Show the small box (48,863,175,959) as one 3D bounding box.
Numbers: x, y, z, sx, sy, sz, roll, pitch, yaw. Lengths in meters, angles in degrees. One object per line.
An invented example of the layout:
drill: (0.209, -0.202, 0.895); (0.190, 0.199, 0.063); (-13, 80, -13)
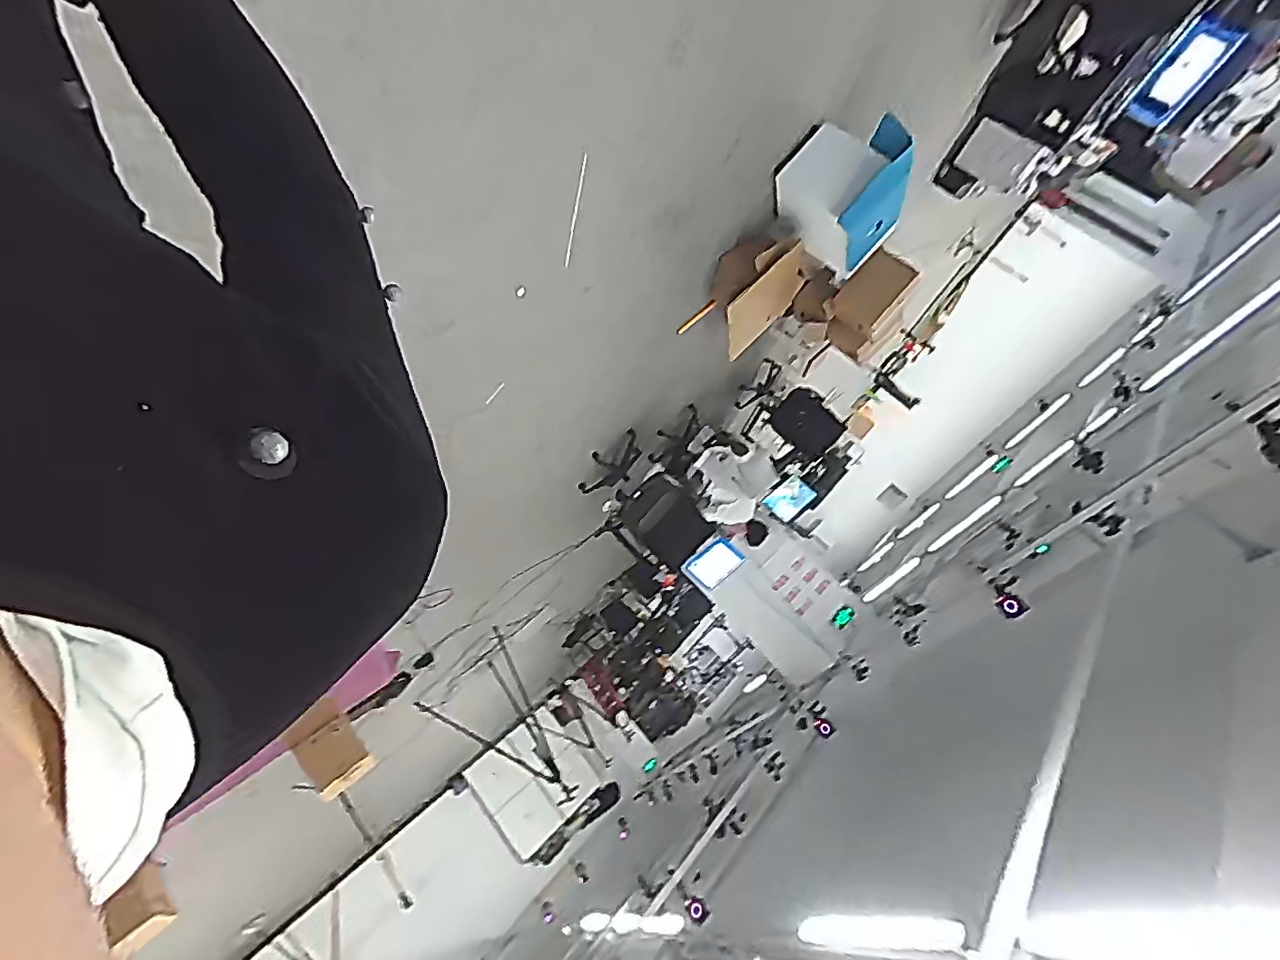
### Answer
small box: (-1.386, 1.151, 1.422); (0.168, 0.176, 0.179); (-32, 159, -36)

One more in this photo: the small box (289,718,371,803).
small box: (-1.003, 0.903, 1.753); (0.168, 0.176, 0.179); (-33, 161, -36)

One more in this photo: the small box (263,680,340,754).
small box: (-1.118, 0.800, 1.806); (0.168, 0.176, 0.179); (-33, 159, -36)
